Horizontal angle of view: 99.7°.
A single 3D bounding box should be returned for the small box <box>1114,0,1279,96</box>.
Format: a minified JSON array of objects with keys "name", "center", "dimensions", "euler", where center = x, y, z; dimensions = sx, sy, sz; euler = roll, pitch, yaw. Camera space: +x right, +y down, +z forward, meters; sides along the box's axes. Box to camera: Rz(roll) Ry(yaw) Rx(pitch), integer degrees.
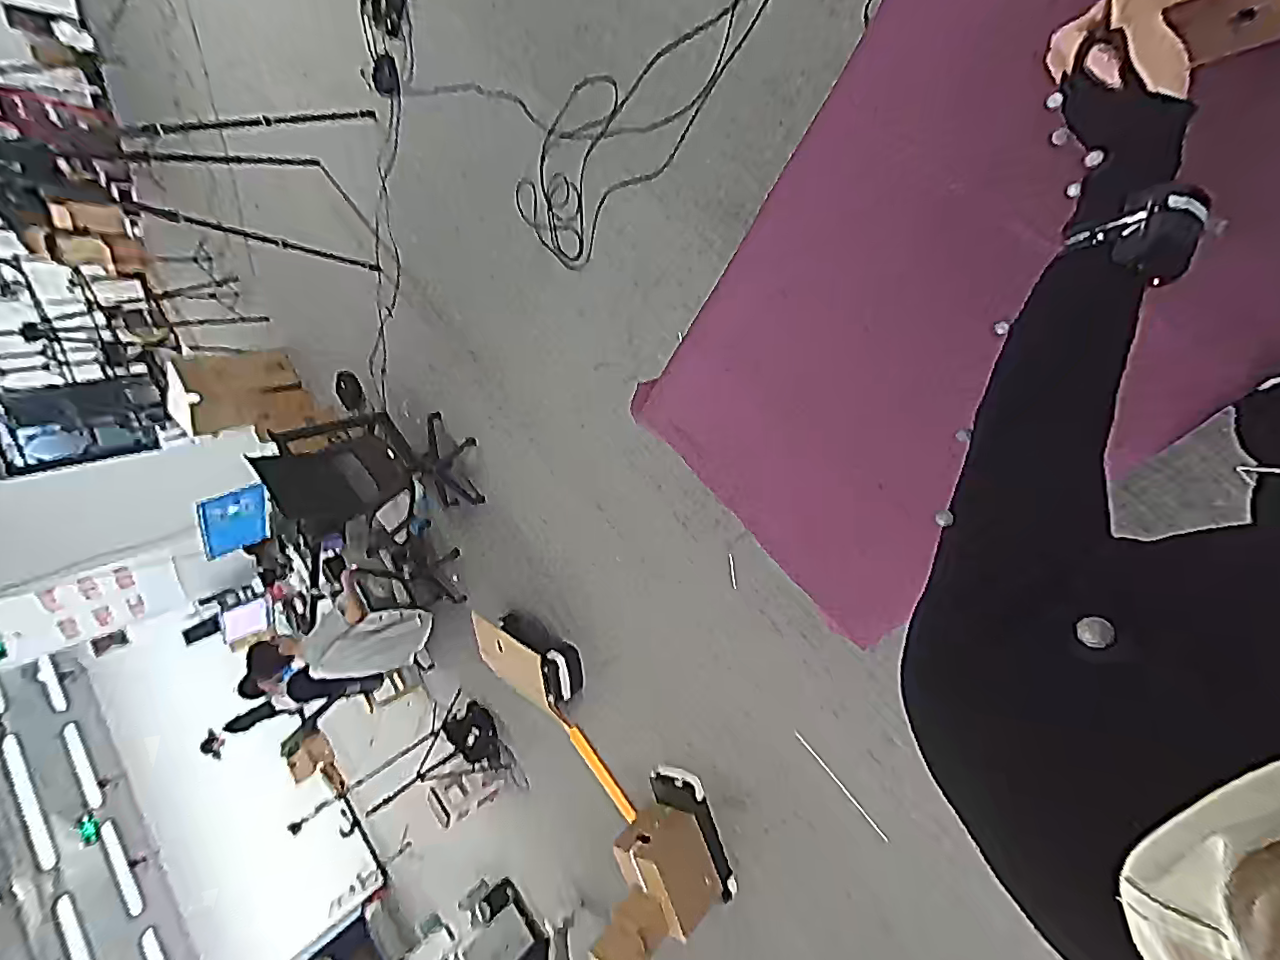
[{"name":"small box","center":[0.499,-0.445,0.425],"dimensions":[0.179,0.176,0.168],"euler":[5,105,44]}]
